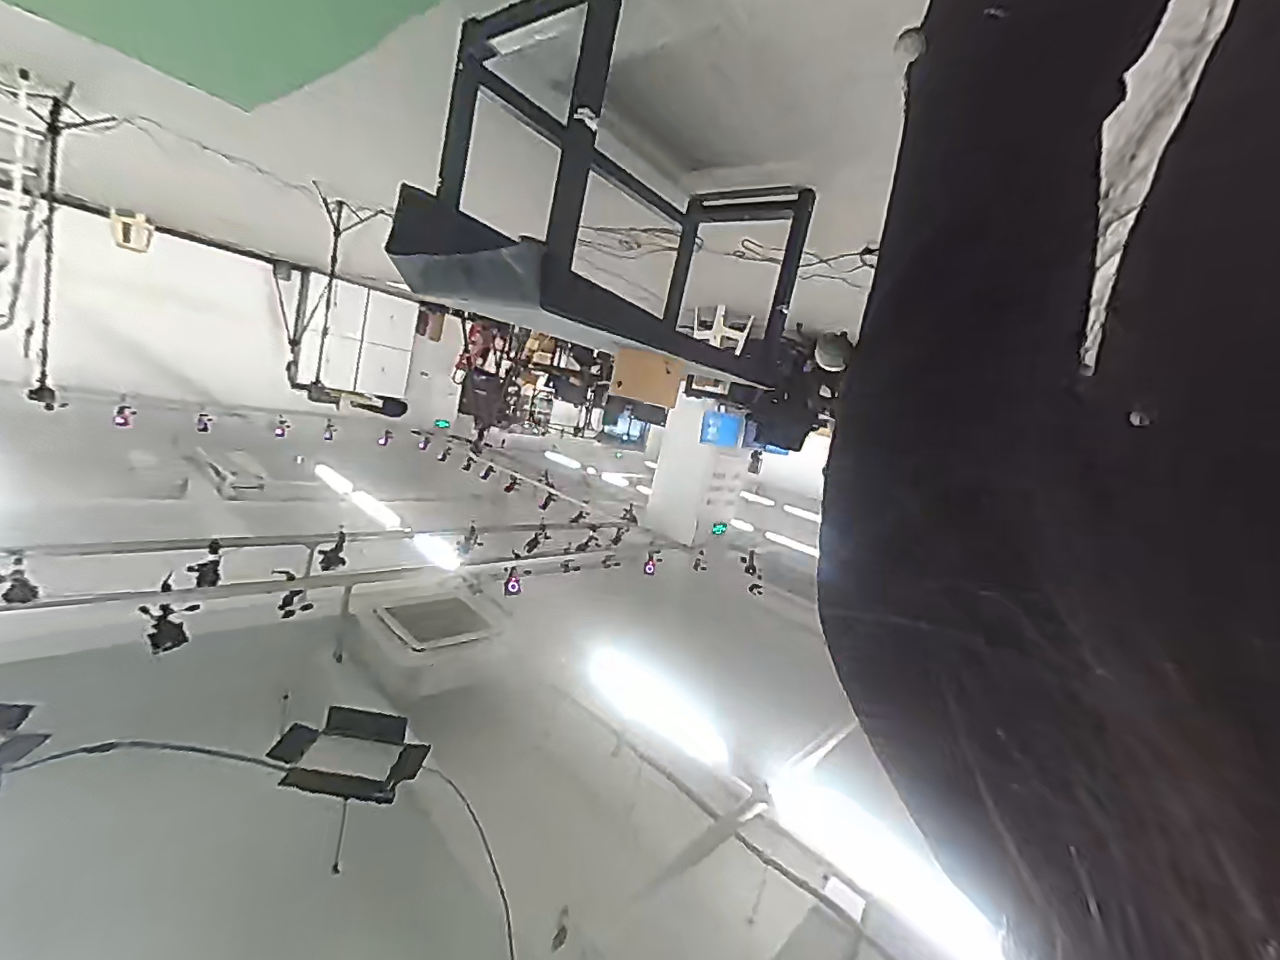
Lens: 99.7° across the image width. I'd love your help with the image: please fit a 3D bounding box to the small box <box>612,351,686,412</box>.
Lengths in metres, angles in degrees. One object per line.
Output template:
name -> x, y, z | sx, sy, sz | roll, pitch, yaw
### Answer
small box -> 0.035, -0.339, 1.851 | 0.179, 0.176, 0.168 | 20, -168, 40
